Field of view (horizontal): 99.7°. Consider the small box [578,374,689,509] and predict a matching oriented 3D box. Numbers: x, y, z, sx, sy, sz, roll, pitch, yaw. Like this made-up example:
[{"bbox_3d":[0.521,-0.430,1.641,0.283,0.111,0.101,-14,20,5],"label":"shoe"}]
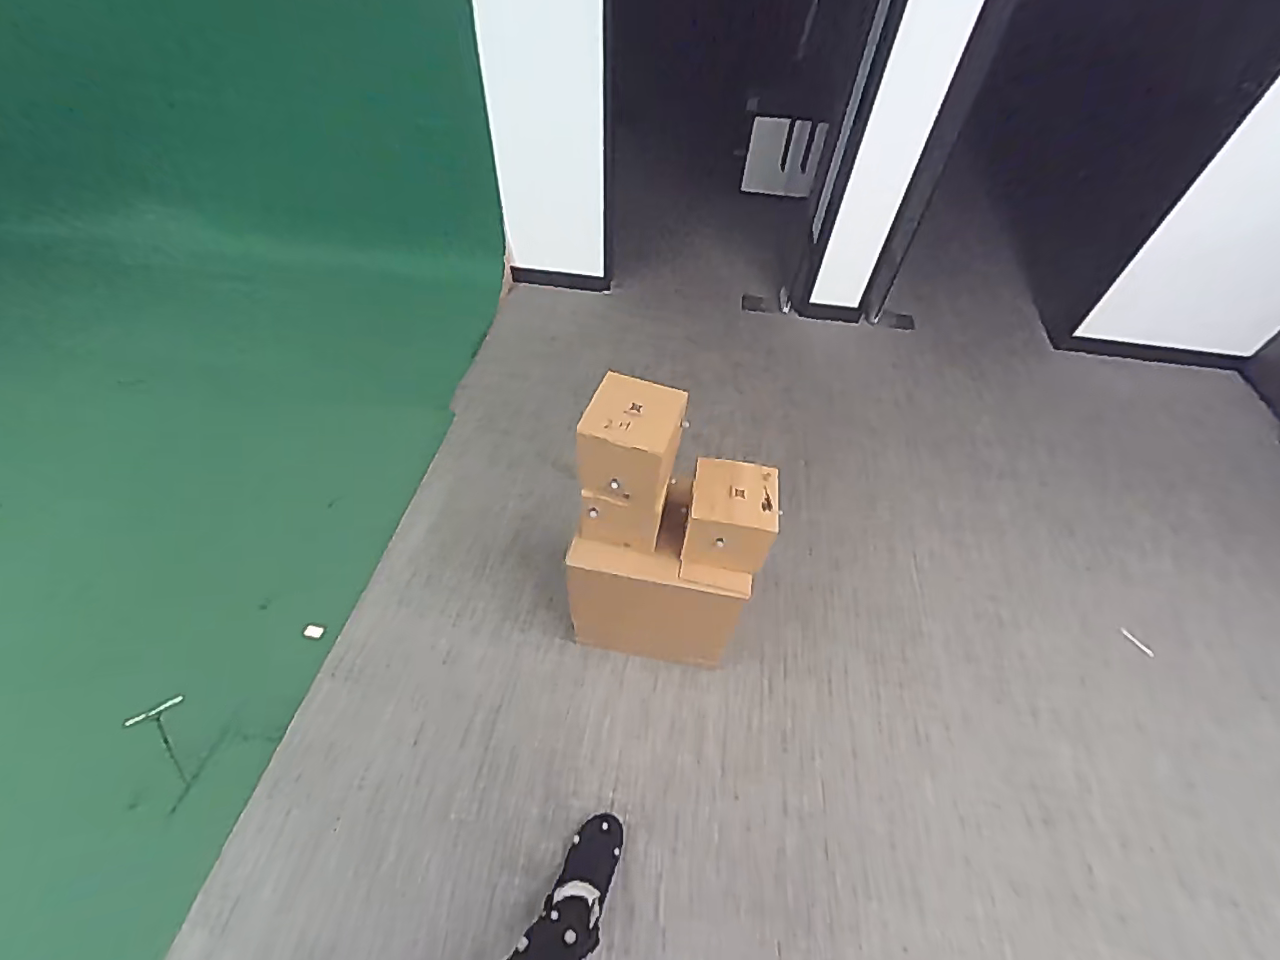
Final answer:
[{"bbox_3d":[-0.014,-0.074,1.060,0.168,0.176,0.179,16,52,9],"label":"small box"}]
